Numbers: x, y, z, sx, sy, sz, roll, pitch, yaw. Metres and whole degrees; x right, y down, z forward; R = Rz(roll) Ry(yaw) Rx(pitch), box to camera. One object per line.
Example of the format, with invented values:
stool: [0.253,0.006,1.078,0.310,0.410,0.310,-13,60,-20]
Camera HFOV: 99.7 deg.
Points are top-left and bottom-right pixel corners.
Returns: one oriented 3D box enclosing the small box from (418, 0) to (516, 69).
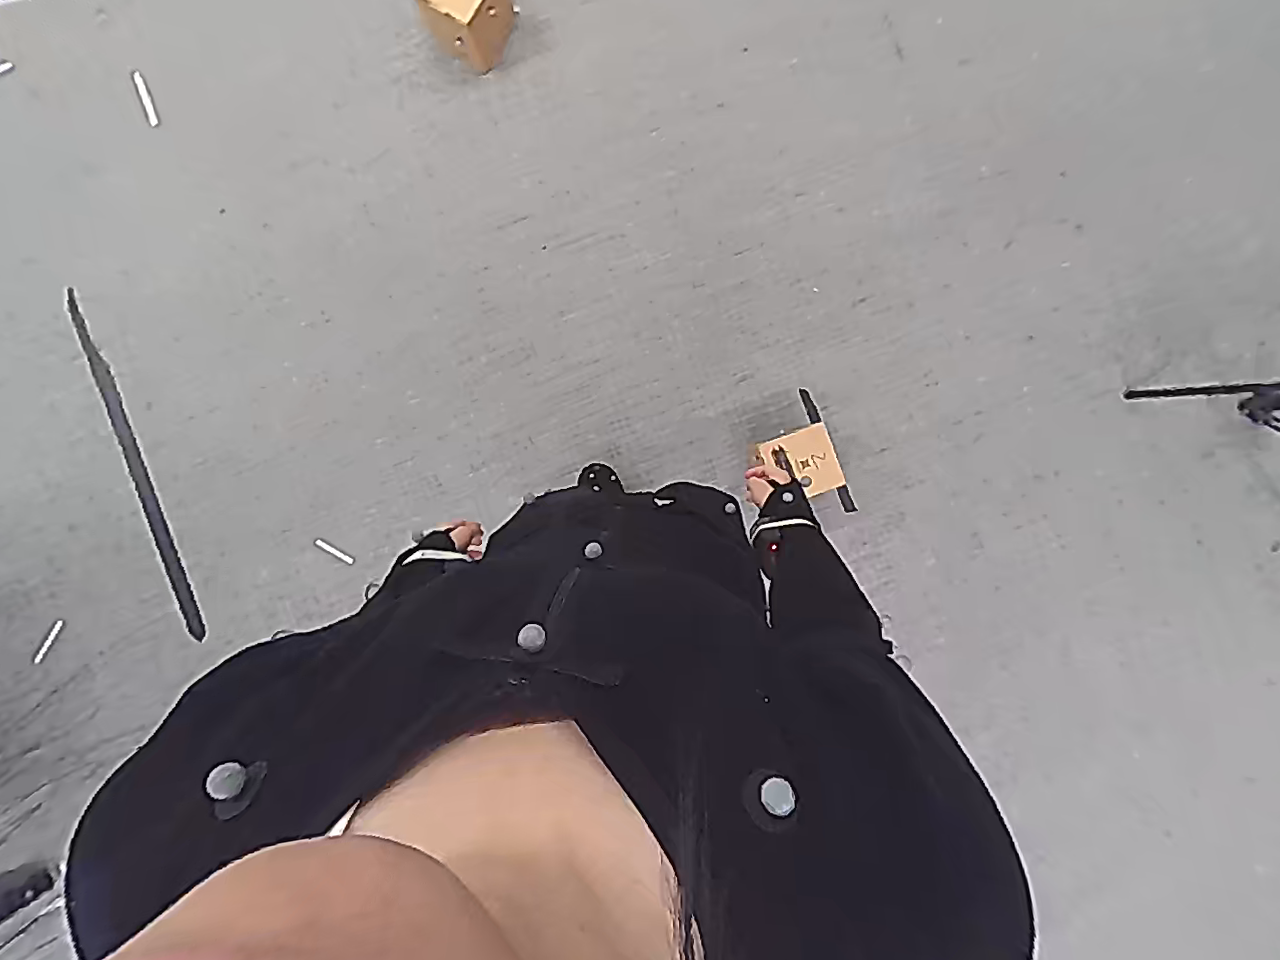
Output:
small box: [-0.442,-1.227,1.398,0.168,0.176,0.179,32,90,-1]
